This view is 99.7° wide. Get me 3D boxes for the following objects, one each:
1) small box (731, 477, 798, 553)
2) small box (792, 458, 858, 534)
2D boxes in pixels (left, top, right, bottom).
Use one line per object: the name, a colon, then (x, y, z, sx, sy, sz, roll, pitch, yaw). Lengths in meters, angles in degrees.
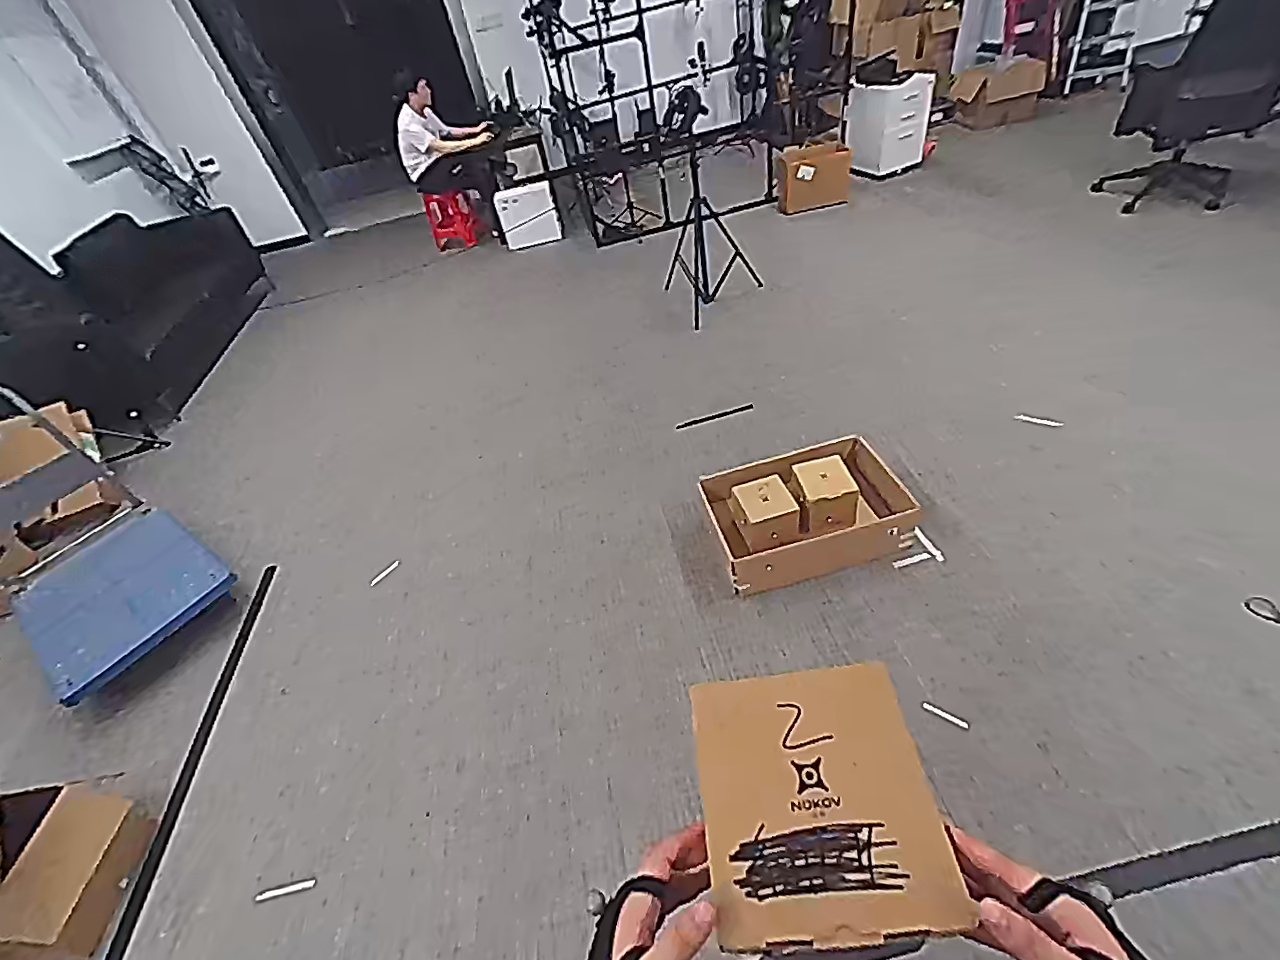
small box: (0.417, 0.125, 1.820, 0.168, 0.176, 0.179, -16, 43, -5)
small box: (0.623, 0.056, 1.845, 0.168, 0.176, 0.179, -13, 43, 2)
